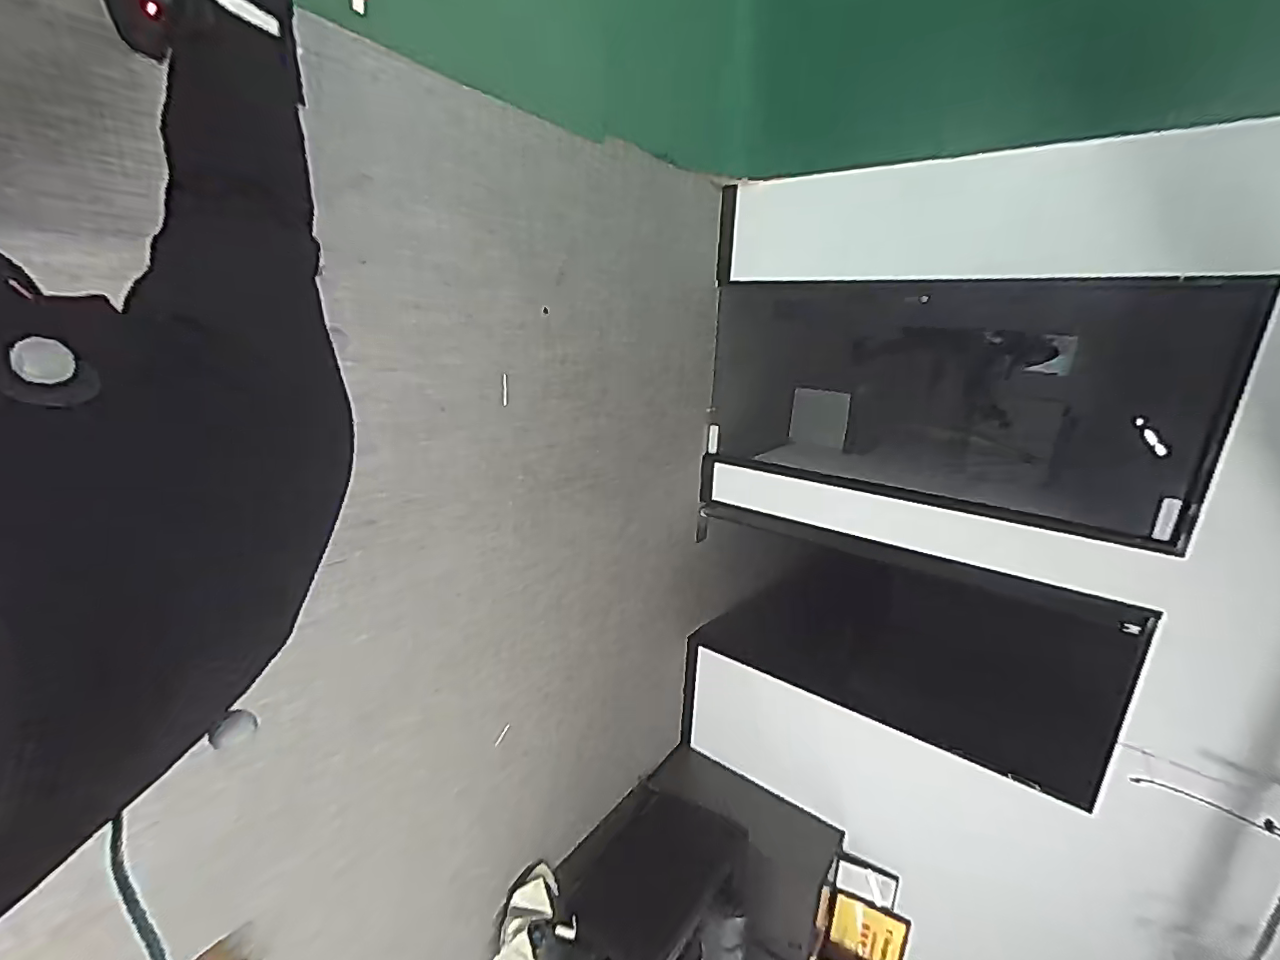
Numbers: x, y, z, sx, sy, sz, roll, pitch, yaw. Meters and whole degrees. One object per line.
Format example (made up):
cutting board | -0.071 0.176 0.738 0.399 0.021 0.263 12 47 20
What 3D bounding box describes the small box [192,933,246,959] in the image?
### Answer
small box | -1.124 1.360 1.411 0.179 0.176 0.168 -26 123 -49
